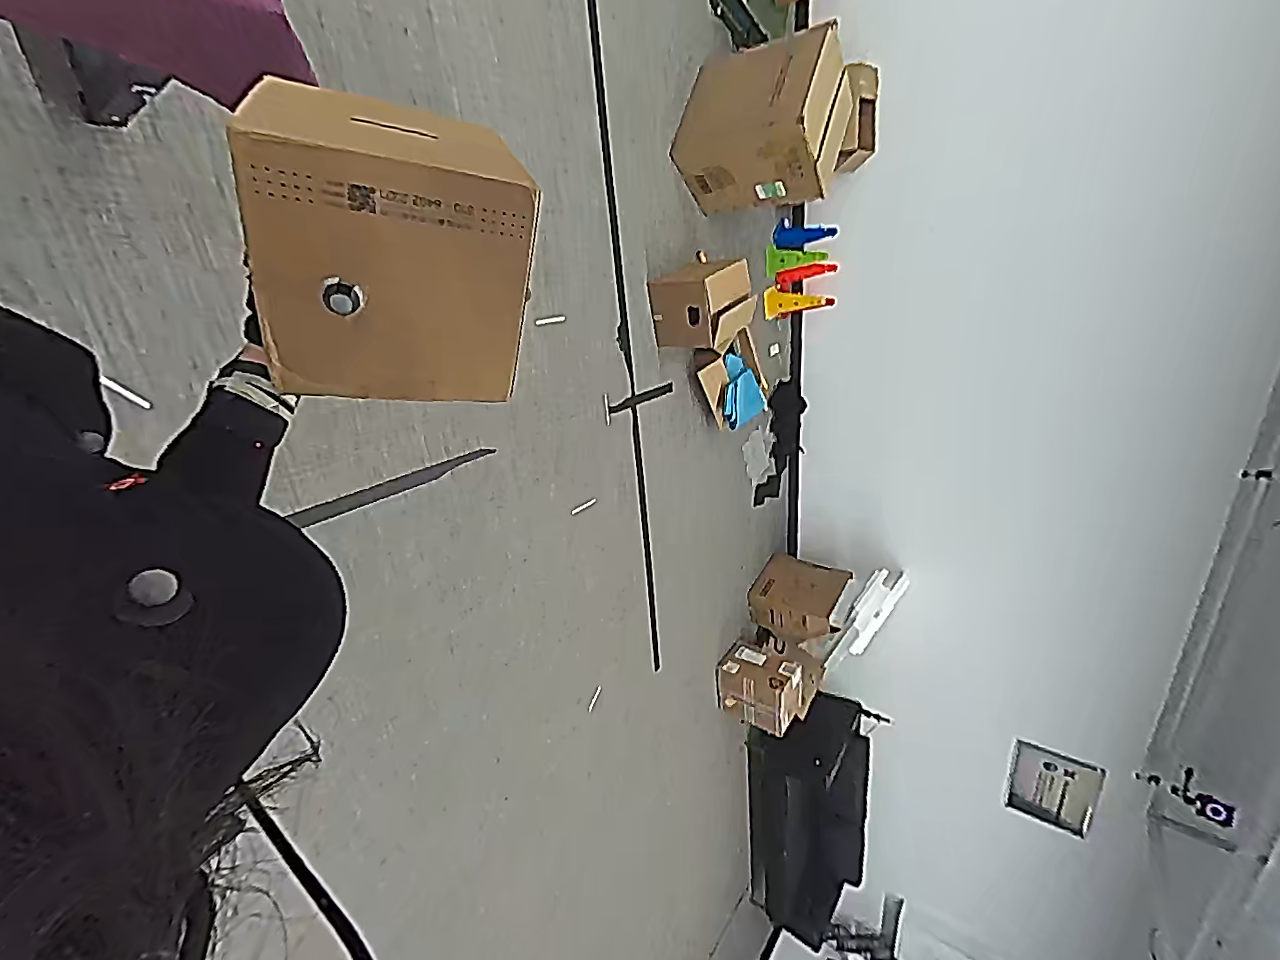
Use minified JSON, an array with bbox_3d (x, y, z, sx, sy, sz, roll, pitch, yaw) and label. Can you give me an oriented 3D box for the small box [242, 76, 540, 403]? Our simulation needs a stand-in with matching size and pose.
[{"bbox_3d":[-0.181,-0.177,0.409,0.168,0.179,0.176,-1,132,-27],"label":"small box"}]
